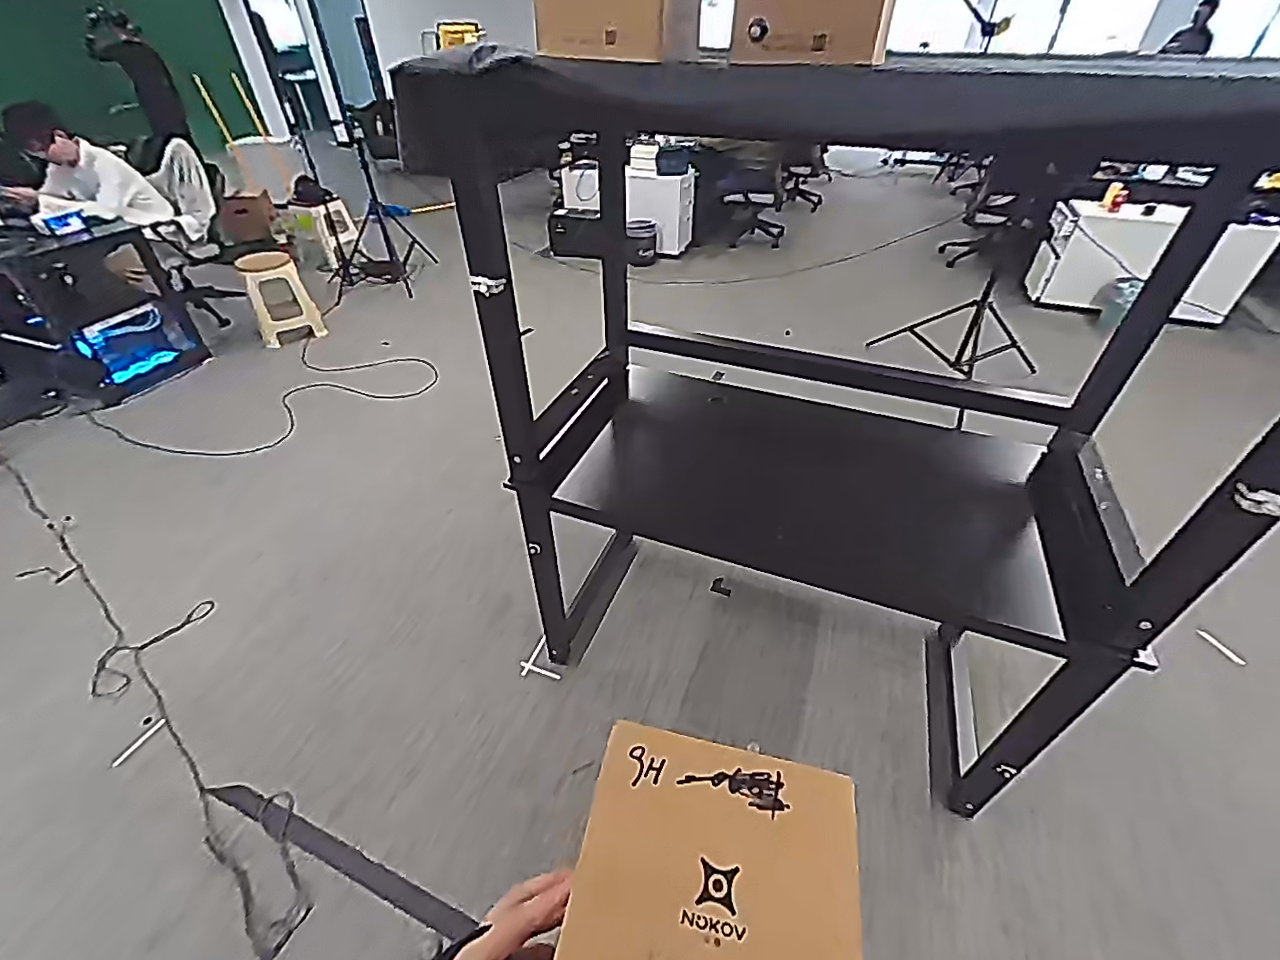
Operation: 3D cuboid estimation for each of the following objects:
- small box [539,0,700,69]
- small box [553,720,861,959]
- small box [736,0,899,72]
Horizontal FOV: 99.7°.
[{"bbox_3d":[-0.020,-0.625,0.679,0.168,0.176,0.179,15,40,15],"label":"small box"},{"bbox_3d":[0.041,0.297,0.369,0.168,0.176,0.179,11,48,7],"label":"small box"},{"bbox_3d":[0.215,-0.583,0.628,0.168,0.176,0.179,15,40,18],"label":"small box"}]
